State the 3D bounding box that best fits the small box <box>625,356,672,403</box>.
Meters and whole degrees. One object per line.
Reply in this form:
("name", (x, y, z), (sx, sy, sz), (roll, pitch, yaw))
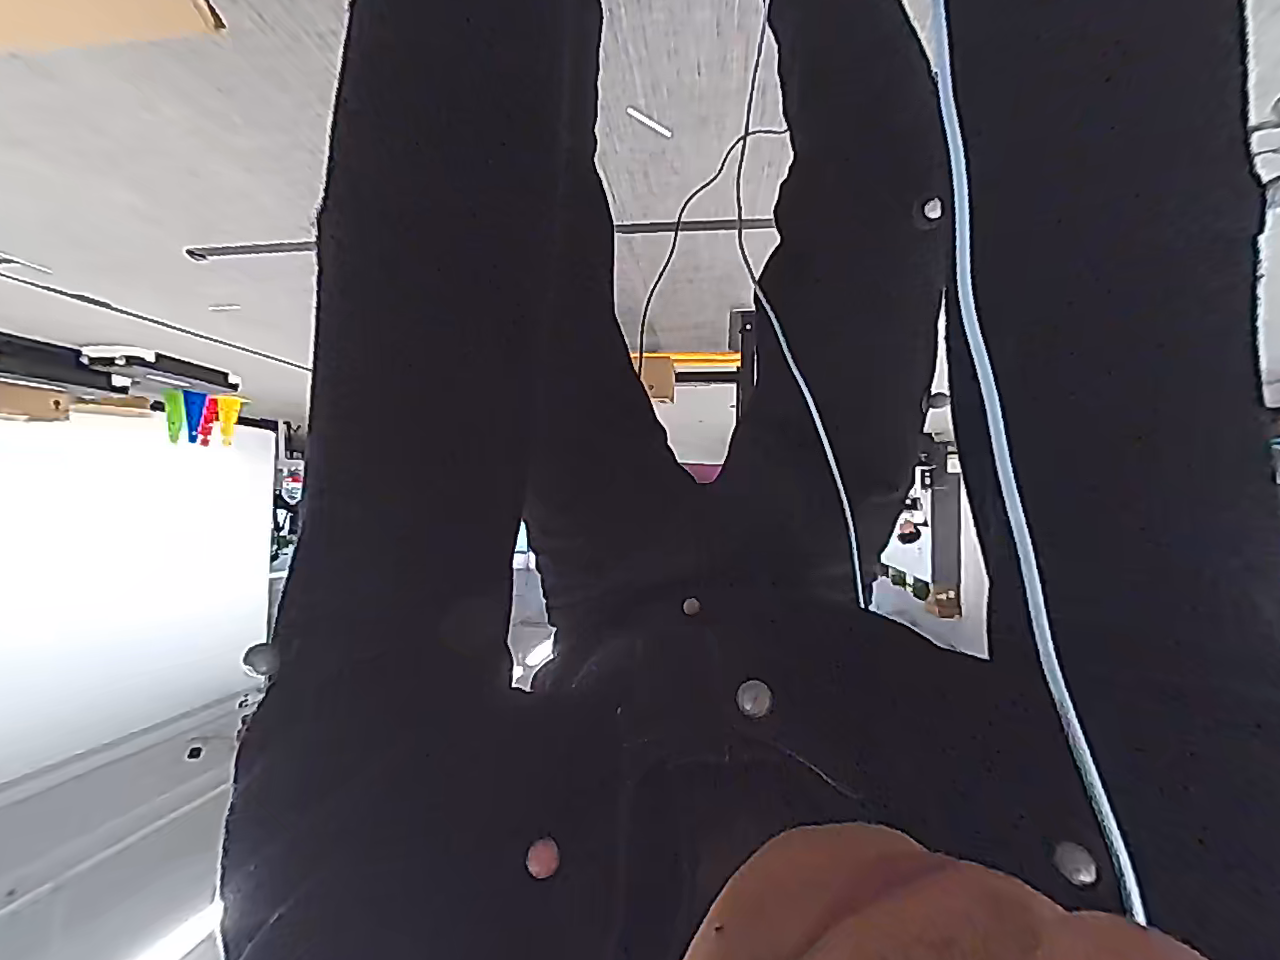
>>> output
("small box", (0.037, -0.416, 2.254), (0.179, 0.176, 0.168), (3, 179, 11))
